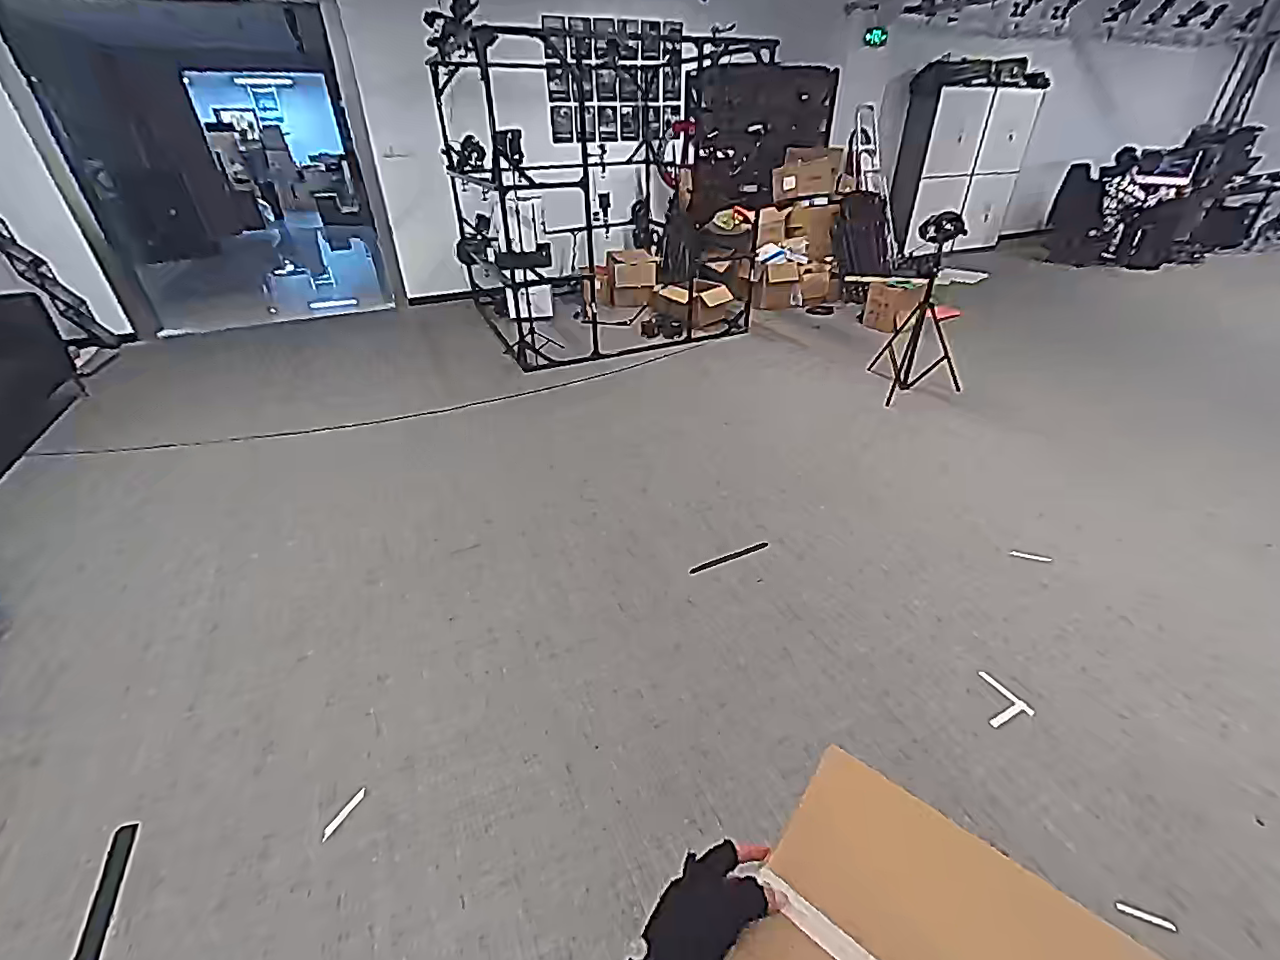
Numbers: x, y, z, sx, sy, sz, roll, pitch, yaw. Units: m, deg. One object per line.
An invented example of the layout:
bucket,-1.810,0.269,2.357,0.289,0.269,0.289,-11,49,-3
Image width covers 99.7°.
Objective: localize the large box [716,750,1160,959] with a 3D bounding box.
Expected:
large box,0.274,0.562,0.512,0.408,0.320,0.320,26,49,30
